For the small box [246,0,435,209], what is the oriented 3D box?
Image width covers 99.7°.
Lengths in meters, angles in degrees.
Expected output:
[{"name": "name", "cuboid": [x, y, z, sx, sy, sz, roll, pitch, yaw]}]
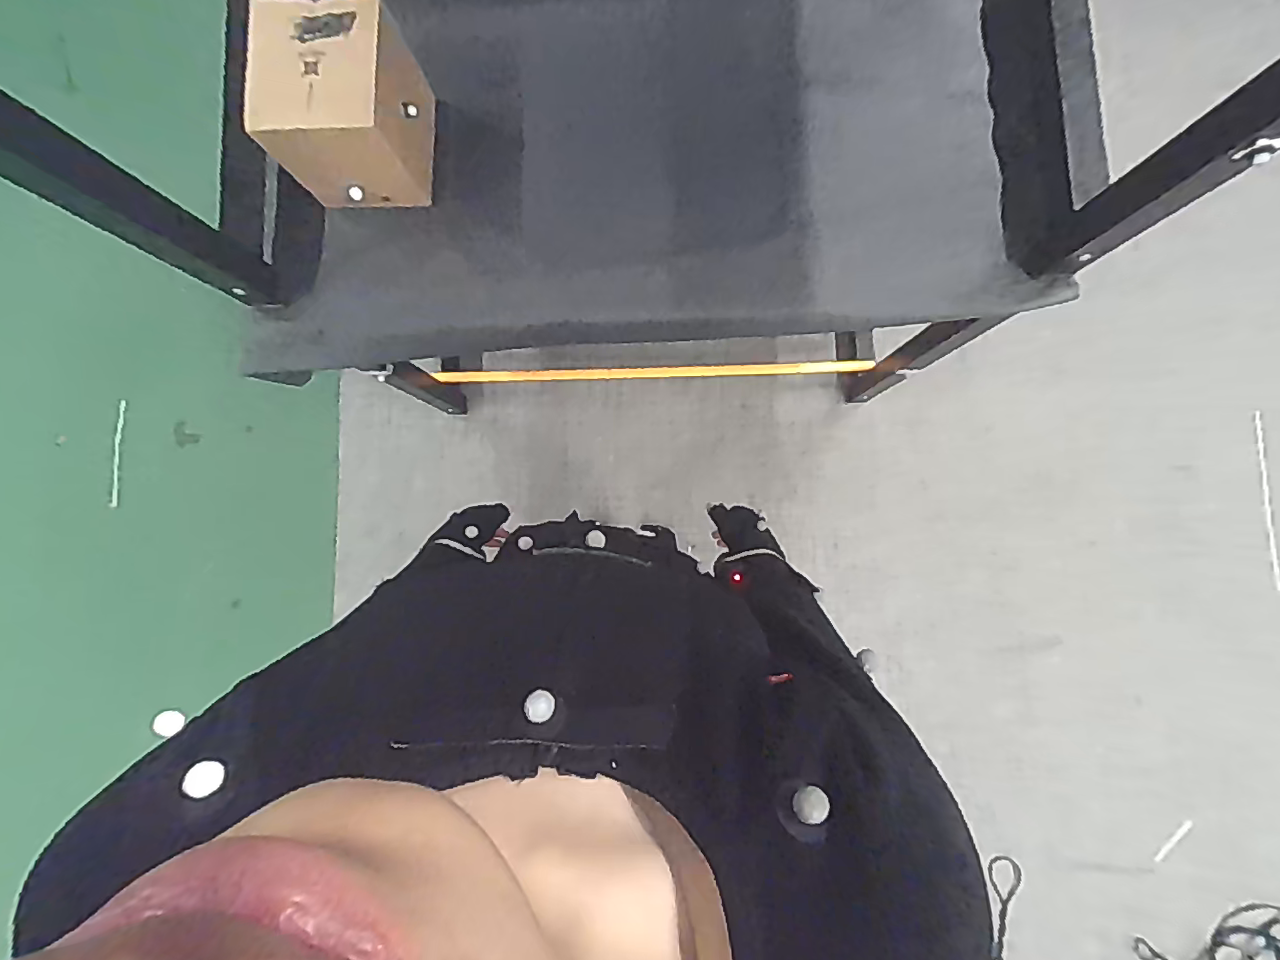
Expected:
[{"name": "small box", "cuboid": [-0.397, -0.504, 0.745, 0.168, 0.176, 0.179, 0, 86, 2]}]
